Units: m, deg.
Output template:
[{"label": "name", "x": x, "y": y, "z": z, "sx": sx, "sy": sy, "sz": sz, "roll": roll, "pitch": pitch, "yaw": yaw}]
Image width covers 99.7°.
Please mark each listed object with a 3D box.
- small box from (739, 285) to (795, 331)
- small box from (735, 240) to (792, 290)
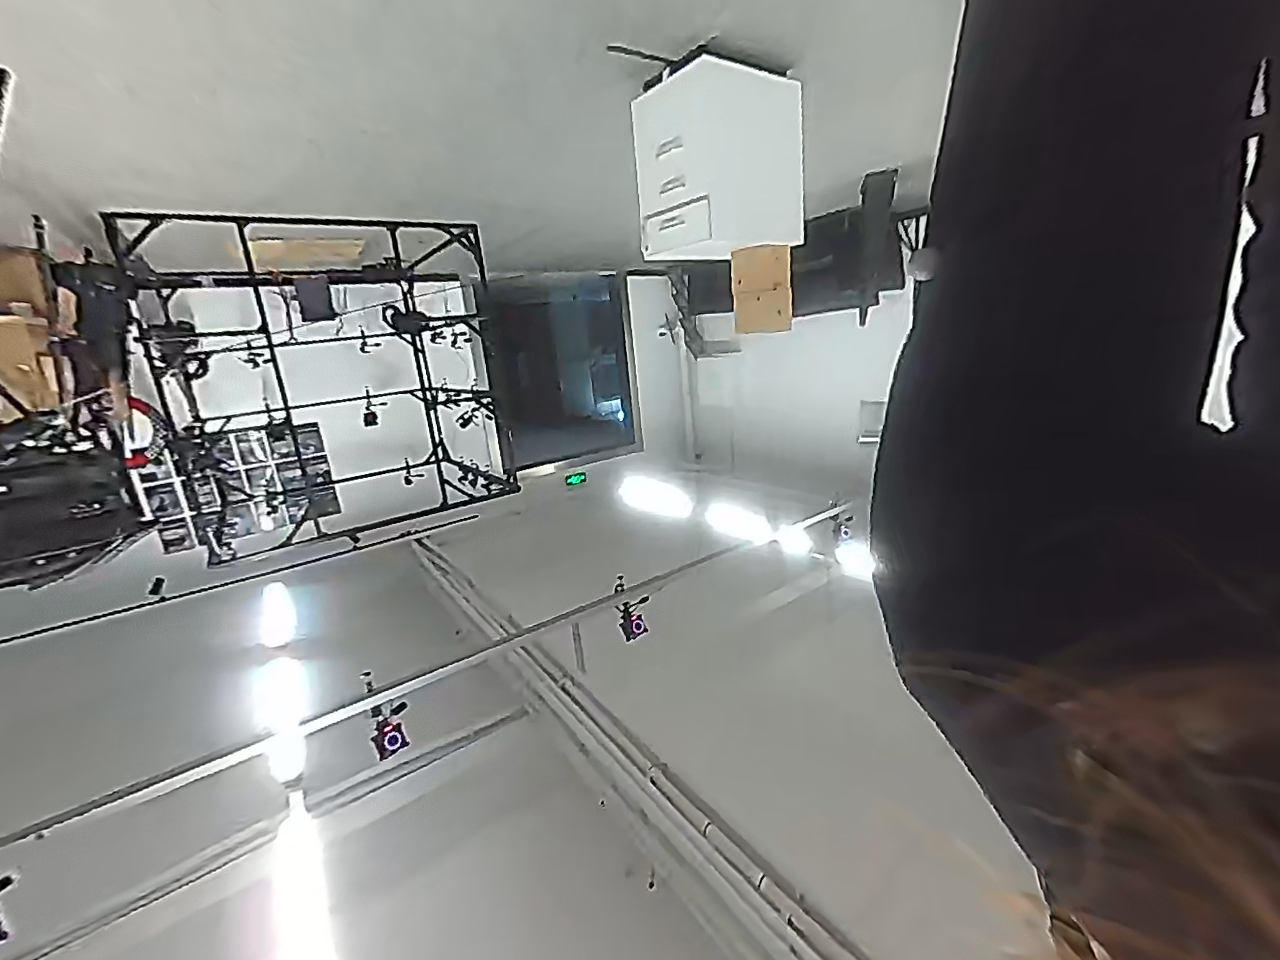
[{"label": "small box", "x": 0.525, "y": -0.717, "z": 2.250, "sx": 0.179, "sy": 0.176, "sz": 0.168, "roll": -17, "pitch": -160, "yaw": -33}, {"label": "small box", "x": 0.506, "y": -0.876, "z": 2.209, "sx": 0.168, "sy": 0.176, "sz": 0.179, "roll": -16, "pitch": -161, "yaw": -33}]
